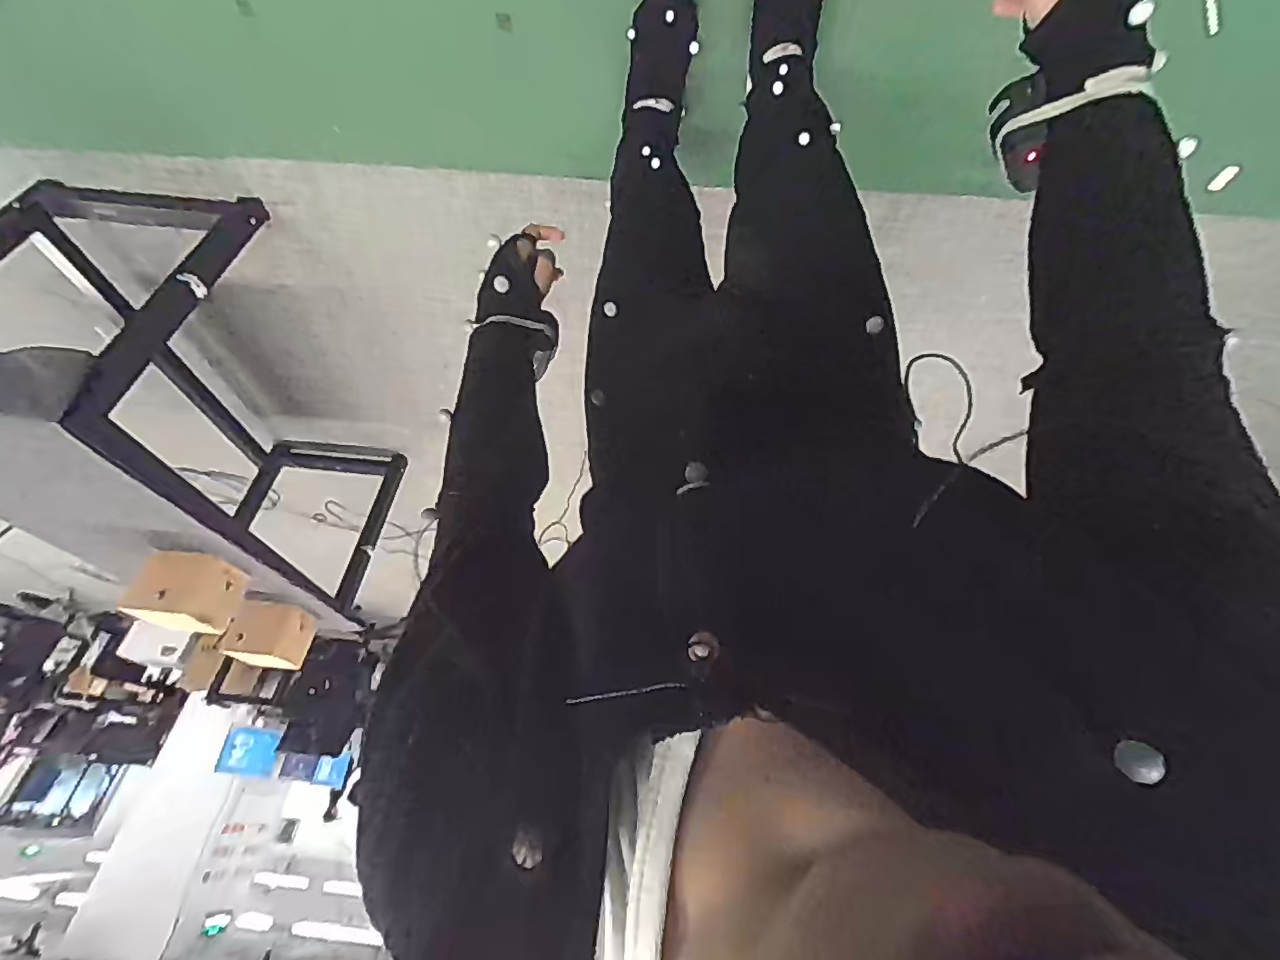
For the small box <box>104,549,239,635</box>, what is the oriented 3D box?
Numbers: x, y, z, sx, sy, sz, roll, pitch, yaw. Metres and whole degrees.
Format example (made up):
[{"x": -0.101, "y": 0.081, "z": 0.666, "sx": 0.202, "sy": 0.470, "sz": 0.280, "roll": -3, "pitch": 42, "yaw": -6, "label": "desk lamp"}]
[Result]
[{"x": -1.228, "y": 0.295, "z": 1.434, "sx": 0.179, "sy": 0.176, "sz": 0.168, "roll": 5, "pitch": 147, "yaw": 2, "label": "small box"}]

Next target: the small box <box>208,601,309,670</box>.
[{"x": -1.221, "y": 0.501, "z": 1.747, "sx": 0.179, "sy": 0.176, "sz": 0.168, "roll": 5, "pitch": 147, "yaw": 3, "label": "small box"}]
